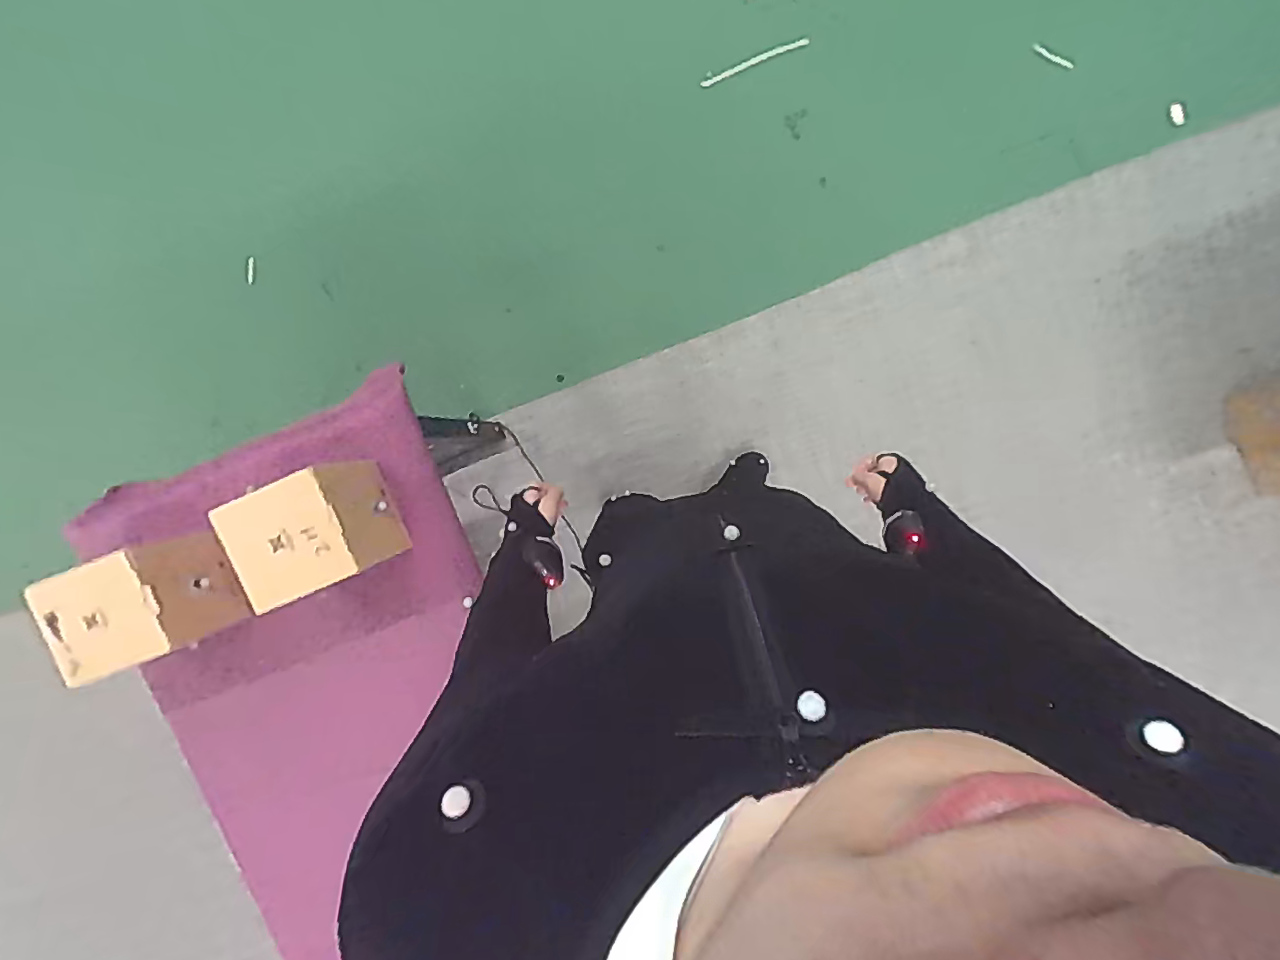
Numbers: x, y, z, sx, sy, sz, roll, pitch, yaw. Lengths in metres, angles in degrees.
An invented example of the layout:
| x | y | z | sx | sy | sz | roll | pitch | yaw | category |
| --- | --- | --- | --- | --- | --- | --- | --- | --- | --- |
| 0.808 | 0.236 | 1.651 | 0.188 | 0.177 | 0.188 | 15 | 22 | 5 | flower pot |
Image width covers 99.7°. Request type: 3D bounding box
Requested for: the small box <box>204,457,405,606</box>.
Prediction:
| x | y | z | sx | sy | sz | roll | pitch | yaw | category |
| --- | --- | --- | --- | --- | --- | --- | --- | --- | --- |
| -0.511 | 0.072 | 0.850 | 0.179 | 0.176 | 0.168 | -22 | 95 | 5 | small box |

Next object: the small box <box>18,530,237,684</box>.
| x | y | z | sx | sy | sz | roll | pitch | yaw | category |
| --- | --- | --- | --- | --- | --- | --- | --- | --- | --- |
| -0.802 | 0.192 | 0.873 | 0.179 | 0.176 | 0.168 | -21 | 94 | 1 | small box |
